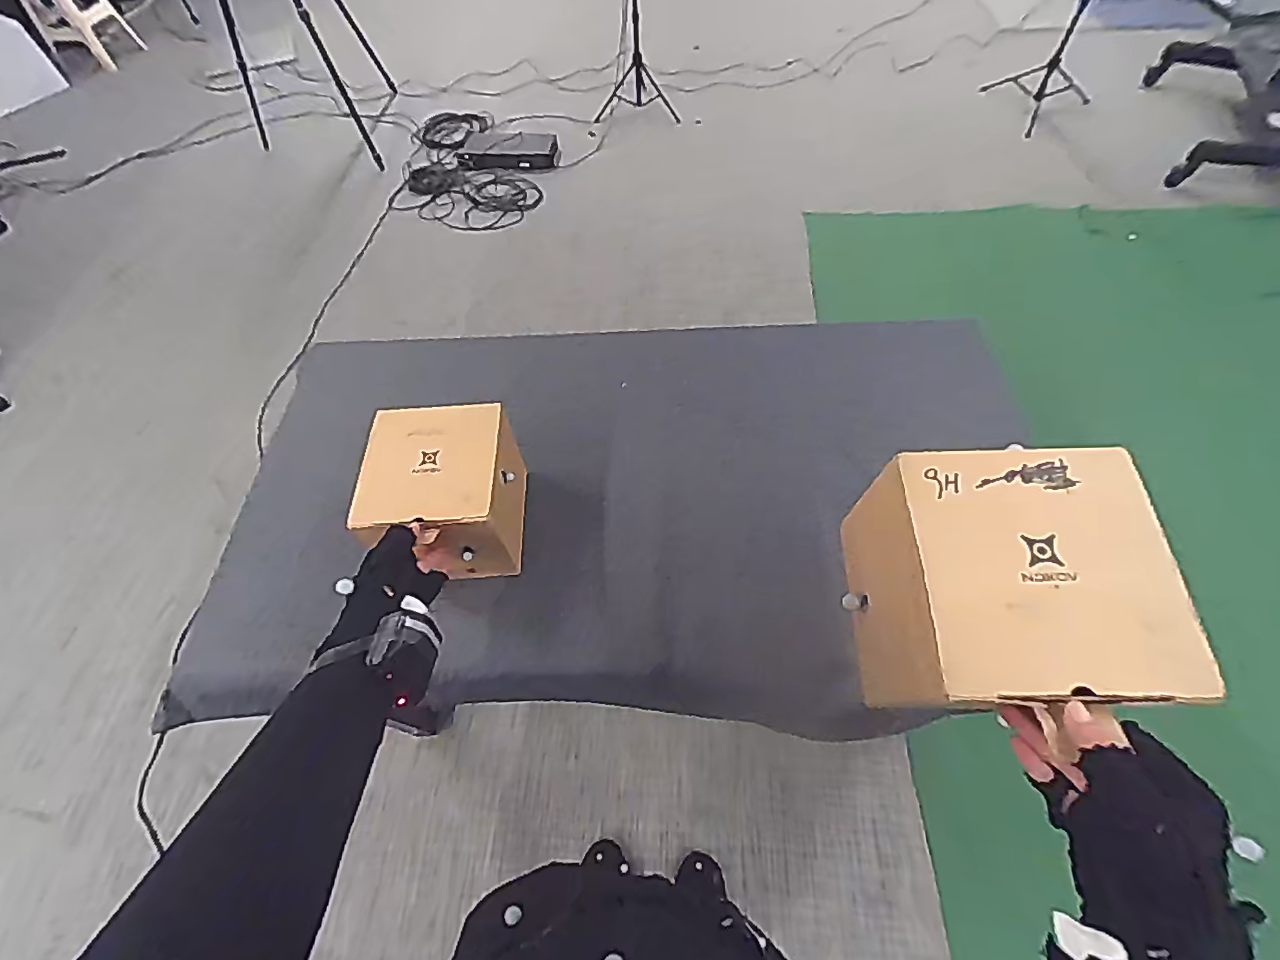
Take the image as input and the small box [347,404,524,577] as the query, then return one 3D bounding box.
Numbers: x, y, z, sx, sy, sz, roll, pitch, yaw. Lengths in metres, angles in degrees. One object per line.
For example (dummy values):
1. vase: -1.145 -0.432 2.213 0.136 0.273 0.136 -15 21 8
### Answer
1. small box: -0.256 0.022 0.727 0.168 0.176 0.179 -3 56 -1
